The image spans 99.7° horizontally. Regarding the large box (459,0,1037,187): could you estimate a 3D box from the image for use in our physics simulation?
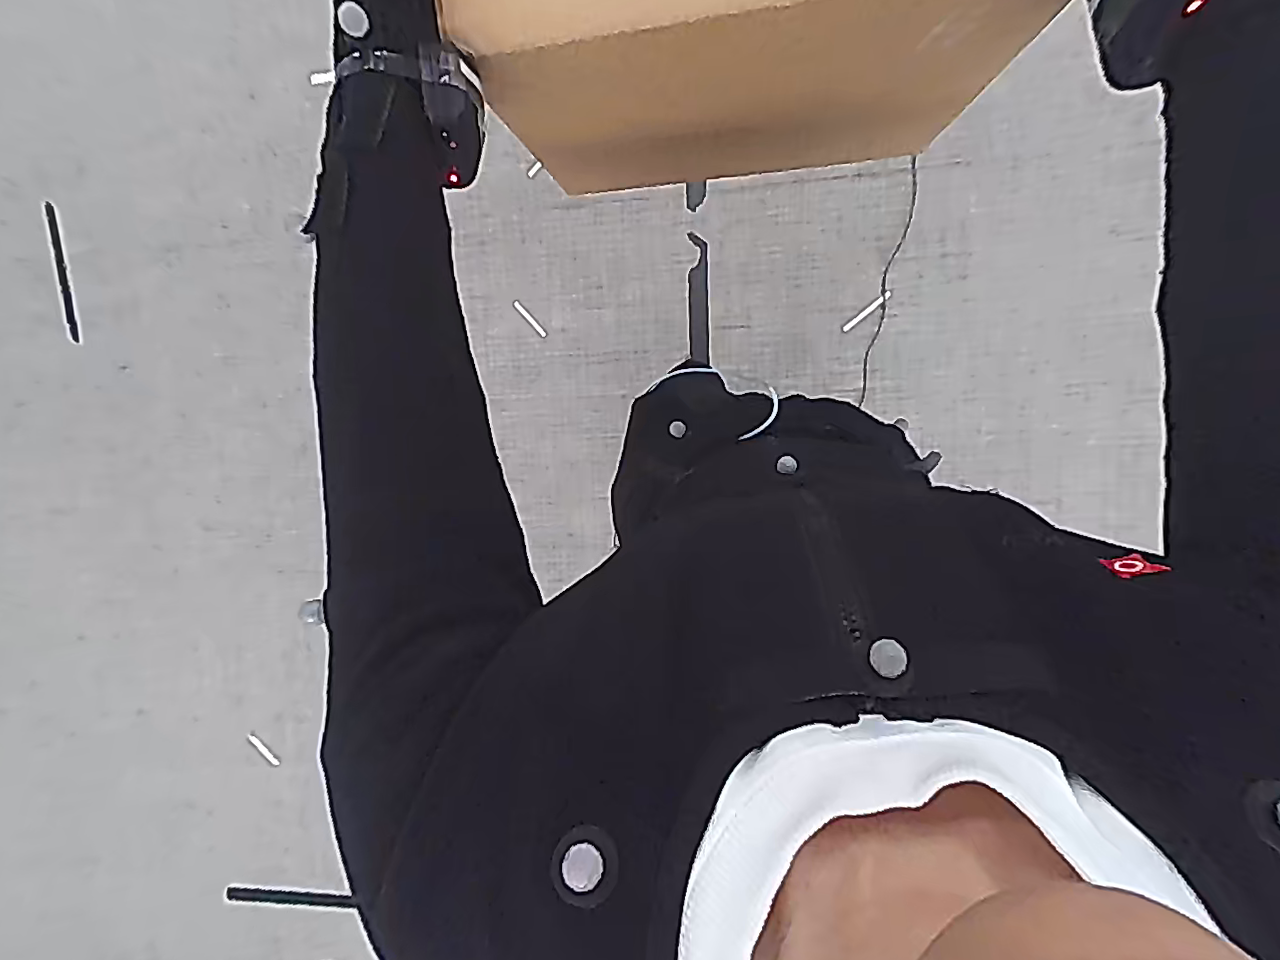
[{"bbox_3d":[0.079,-0.481,0.451,0.408,0.320,0.320,-3,102,7],"label":"large box"}]
